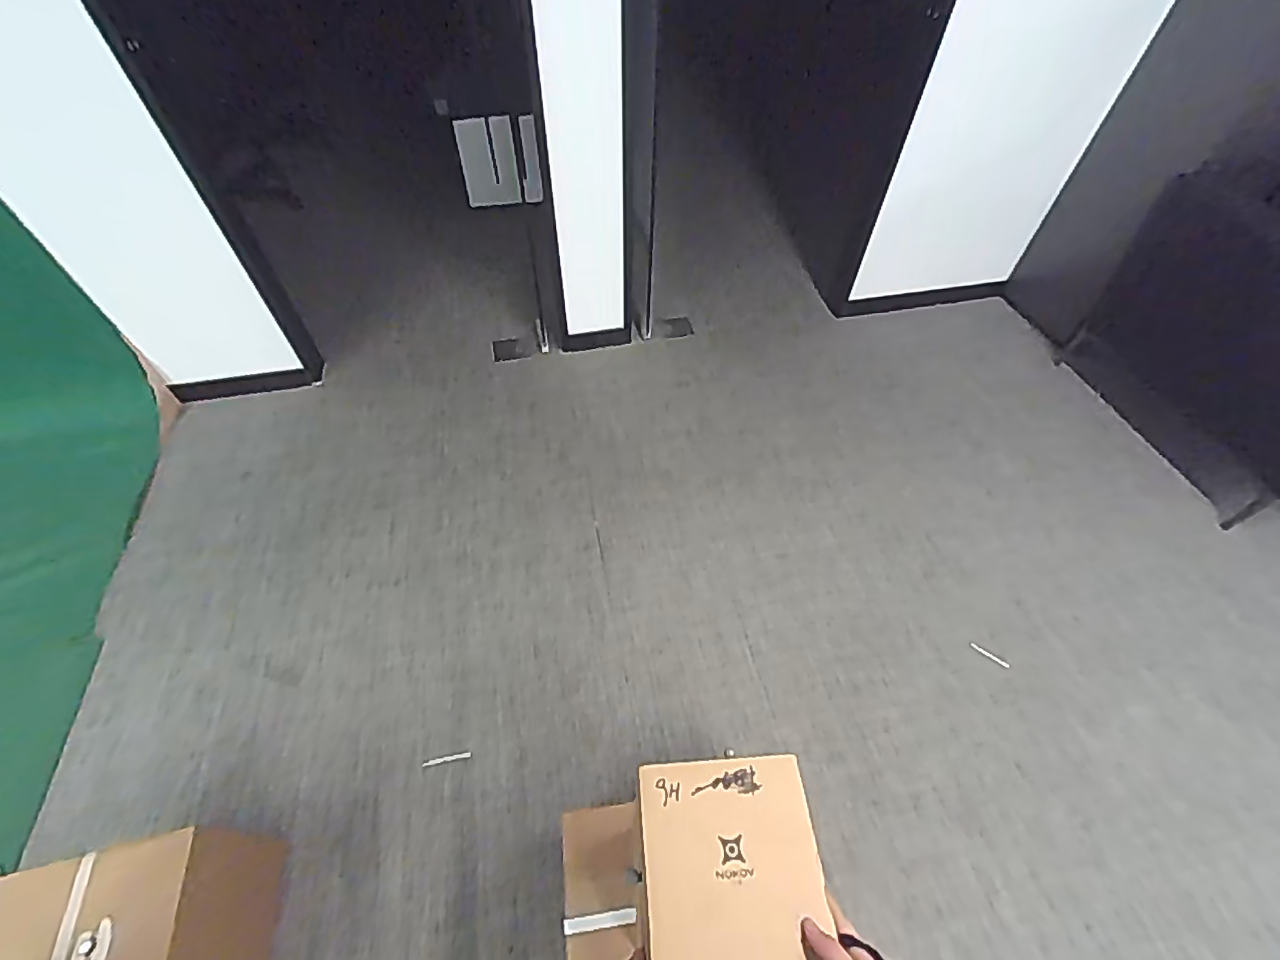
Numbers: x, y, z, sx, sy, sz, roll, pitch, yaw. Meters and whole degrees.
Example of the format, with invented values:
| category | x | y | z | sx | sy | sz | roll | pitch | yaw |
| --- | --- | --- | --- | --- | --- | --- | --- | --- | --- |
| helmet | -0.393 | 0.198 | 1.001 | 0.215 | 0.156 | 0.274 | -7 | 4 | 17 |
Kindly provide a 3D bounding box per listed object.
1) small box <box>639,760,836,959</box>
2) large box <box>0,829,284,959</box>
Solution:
| category | x | y | z | sx | sy | sz | roll | pitch | yaw |
| --- | --- | --- | --- | --- | --- | --- | --- | --- | --- |
| small box | 0.085 | 0.410 | 0.566 | 0.168 | 0.176 | 0.179 | -2 | 51 | -2 |
| large box | -0.862 | 0.876 | 0.910 | 0.320 | 0.320 | 0.408 | -10 | 52 | -9 |
